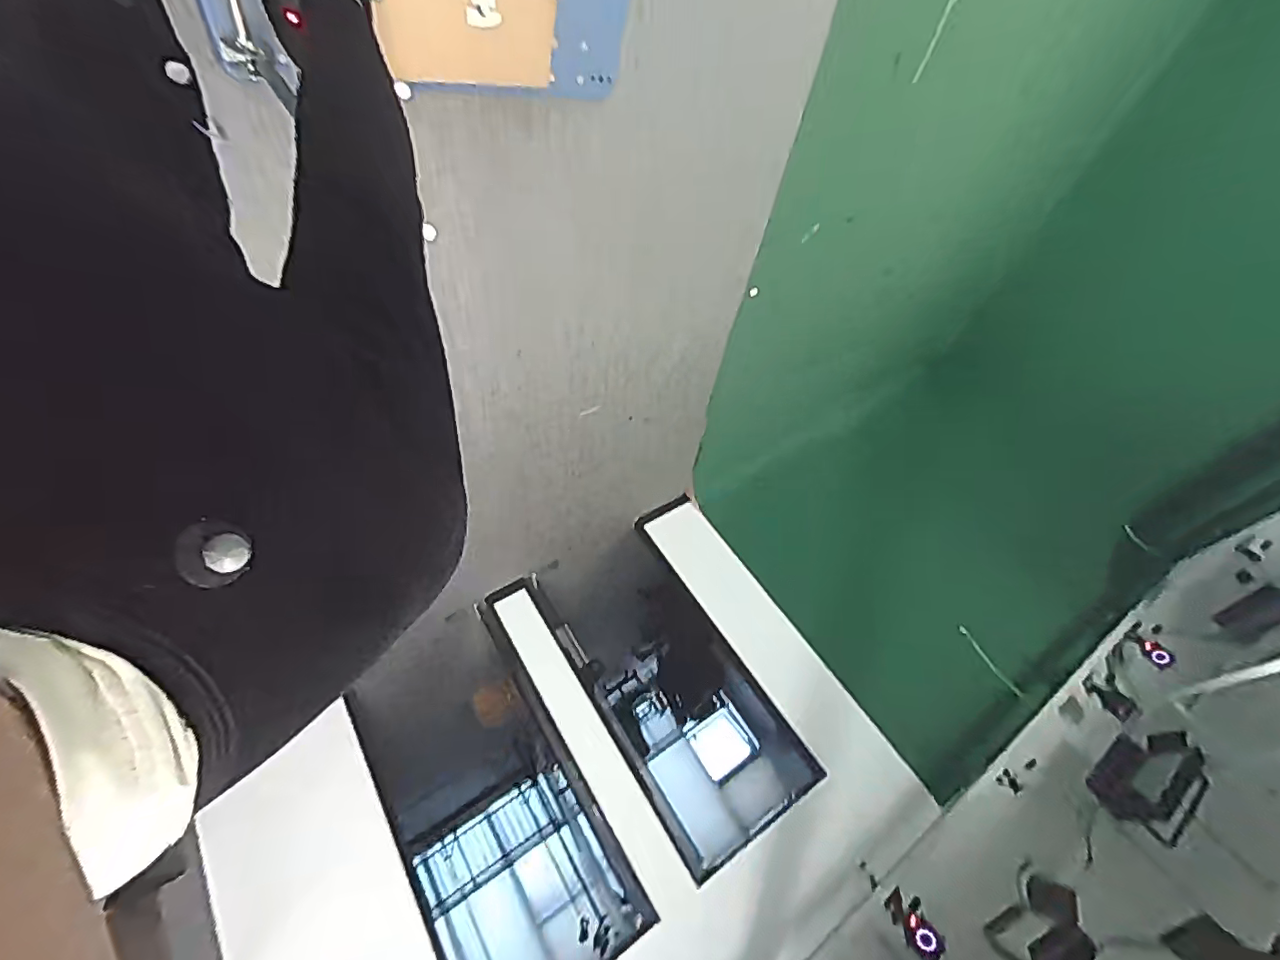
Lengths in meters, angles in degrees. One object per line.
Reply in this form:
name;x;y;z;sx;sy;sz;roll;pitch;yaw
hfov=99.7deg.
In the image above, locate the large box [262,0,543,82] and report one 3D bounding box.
large box;-0.409;-0.900;0.895;0.408;0.320;0.320;-22;151;-30
